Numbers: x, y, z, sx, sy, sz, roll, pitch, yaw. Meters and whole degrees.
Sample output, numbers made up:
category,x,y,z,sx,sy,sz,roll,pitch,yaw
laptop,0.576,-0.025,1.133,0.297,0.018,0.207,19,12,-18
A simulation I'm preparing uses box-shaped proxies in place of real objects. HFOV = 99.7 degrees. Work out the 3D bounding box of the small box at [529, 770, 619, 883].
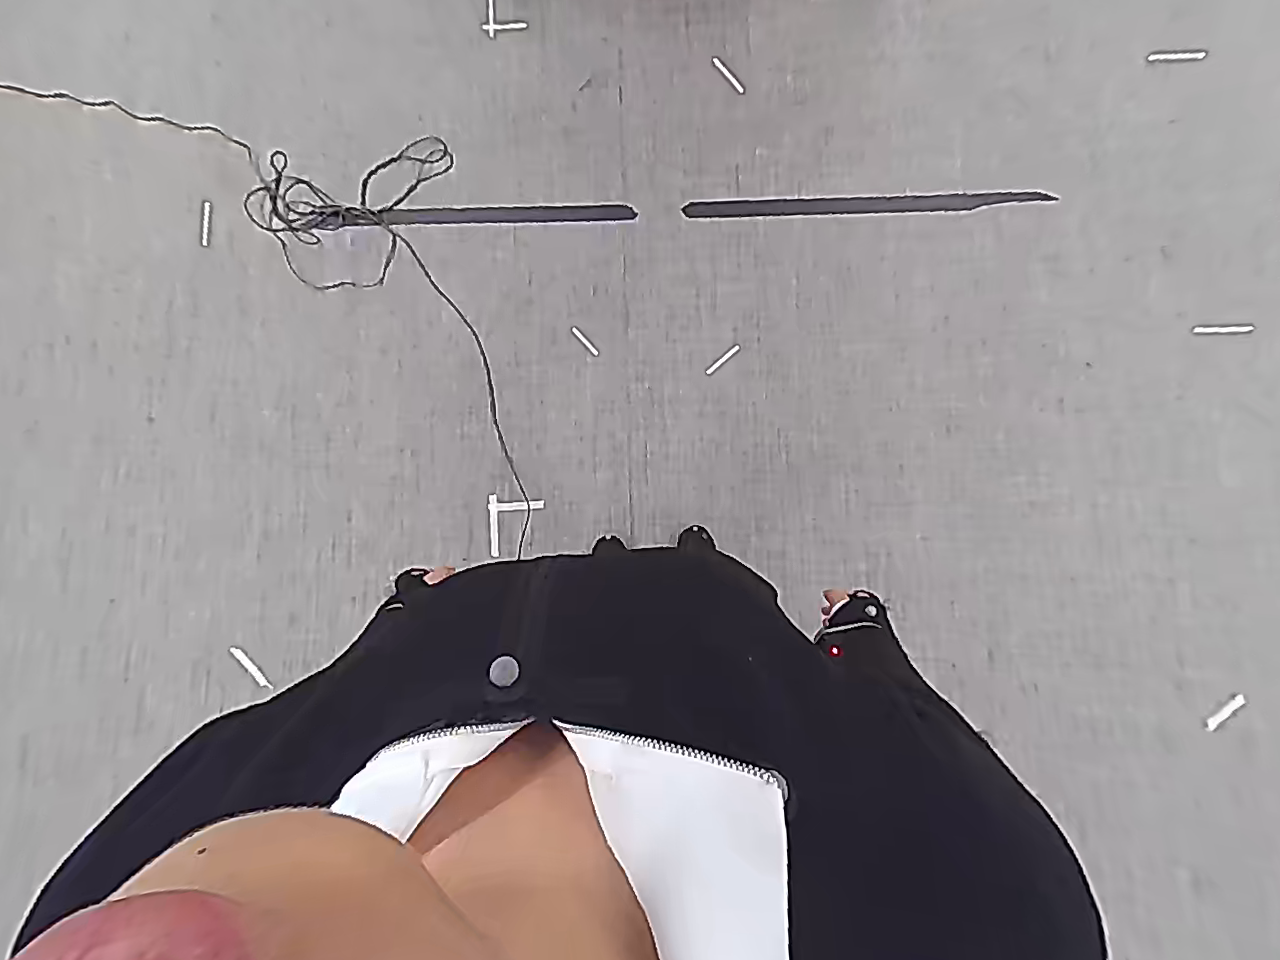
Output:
category,x,y,z,sx,sy,sz,roll,pitch,yaw
small box,-0.137,0.740,1.183,0.179,0.176,0.168,-1,85,2

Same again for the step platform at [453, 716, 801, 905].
category,x,y,z,sx,sy,sz,roll,pitch,yaw
step platform,-0.025,0.680,1.147,0.684,0.204,0.286,-3,86,3
